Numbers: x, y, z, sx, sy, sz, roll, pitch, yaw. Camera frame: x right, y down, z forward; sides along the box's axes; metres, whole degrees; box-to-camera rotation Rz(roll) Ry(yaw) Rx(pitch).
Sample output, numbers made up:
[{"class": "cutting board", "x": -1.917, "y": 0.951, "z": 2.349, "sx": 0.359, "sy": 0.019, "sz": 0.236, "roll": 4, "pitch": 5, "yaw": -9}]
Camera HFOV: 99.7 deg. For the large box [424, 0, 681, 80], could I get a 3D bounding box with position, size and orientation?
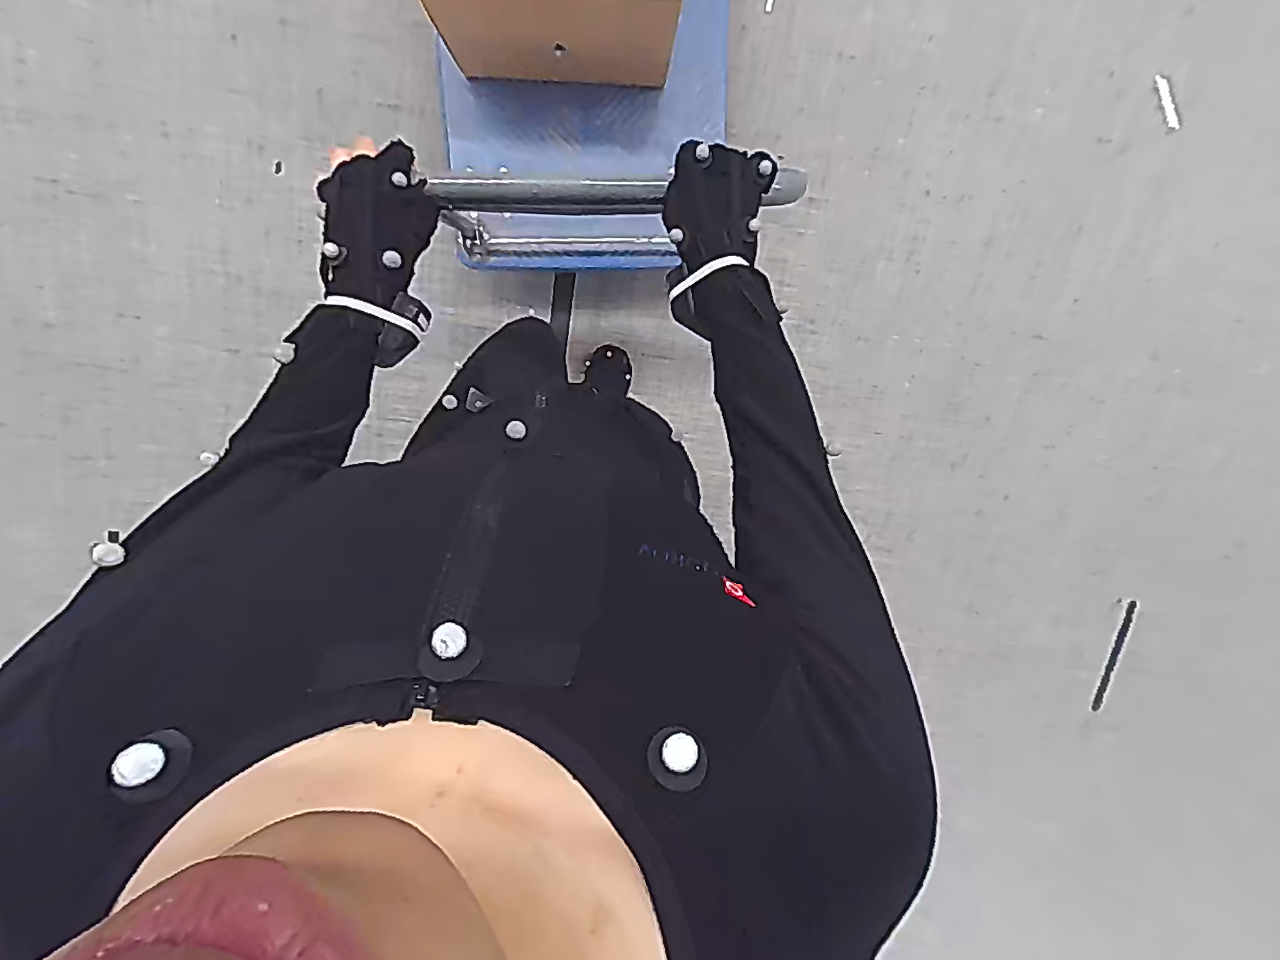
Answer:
[{"class": "large box", "x": -0.139, "y": -0.917, "z": 0.913, "sx": 0.408, "sy": 0.320, "sz": 0.320, "roll": 0, "pitch": 105, "yaw": -2}]
